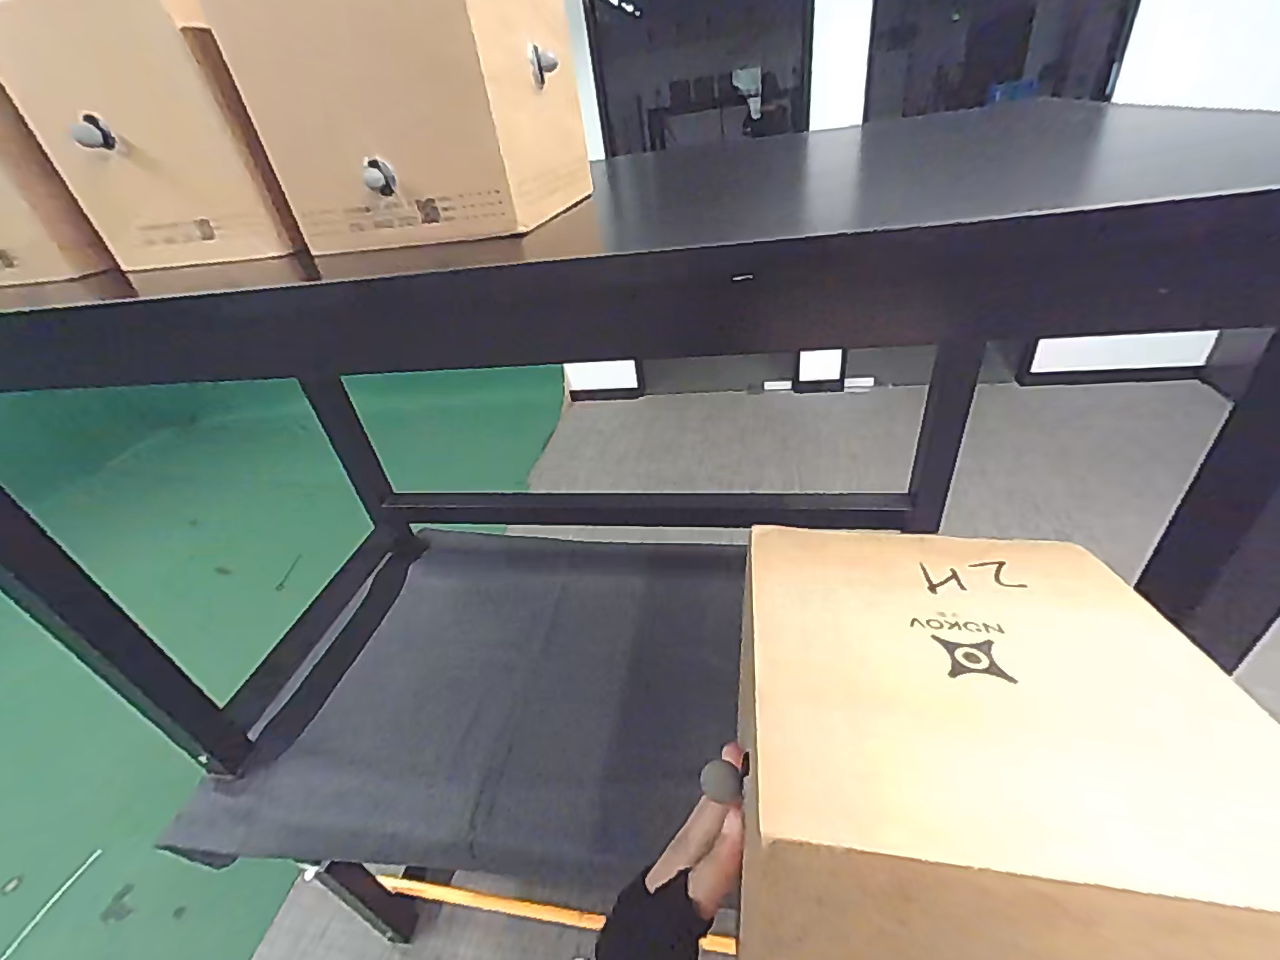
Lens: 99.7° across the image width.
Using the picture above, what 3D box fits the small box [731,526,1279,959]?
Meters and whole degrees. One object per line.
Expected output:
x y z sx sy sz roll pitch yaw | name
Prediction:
0.130 0.140 0.247 0.168 0.176 0.179 3 26 10 | small box

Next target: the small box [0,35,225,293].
-0.526 -0.276 0.484 0.168 0.176 0.179 1 37 13 | small box
